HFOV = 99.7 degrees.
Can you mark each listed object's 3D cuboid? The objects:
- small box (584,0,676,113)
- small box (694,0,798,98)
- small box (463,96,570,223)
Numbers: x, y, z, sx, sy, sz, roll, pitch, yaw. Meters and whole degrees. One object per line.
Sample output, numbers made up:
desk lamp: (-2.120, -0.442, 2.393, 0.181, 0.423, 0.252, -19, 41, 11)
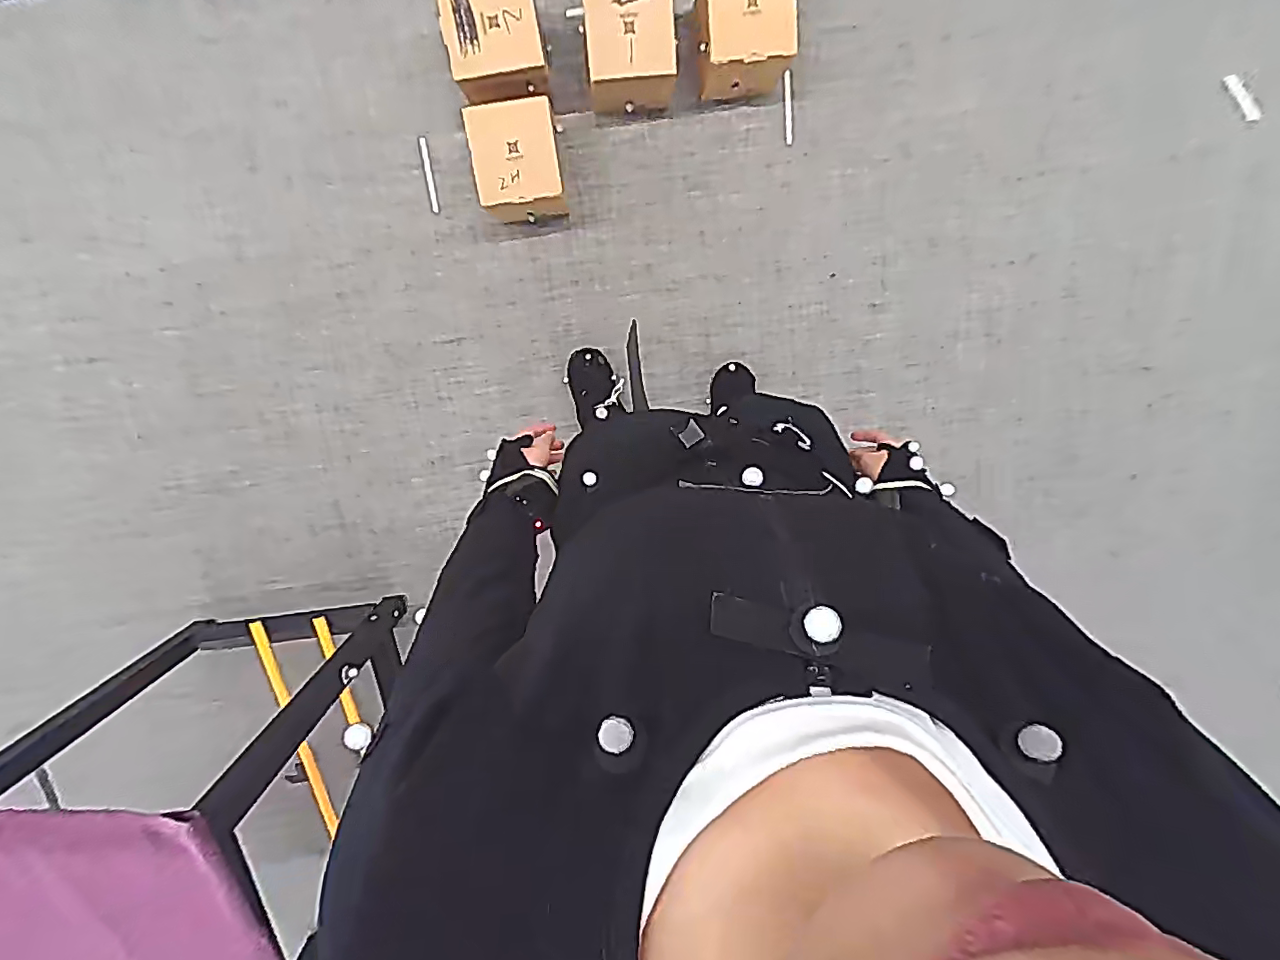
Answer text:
small box: (-0.022, -0.857, 1.062, 0.168, 0.176, 0.179, -5, 106, -1)
small box: (0.202, -0.892, 1.064, 0.168, 0.176, 0.179, -7, 106, -1)
small box: (-0.244, -0.648, 1.110, 0.168, 0.176, 0.179, -8, 106, 1)
